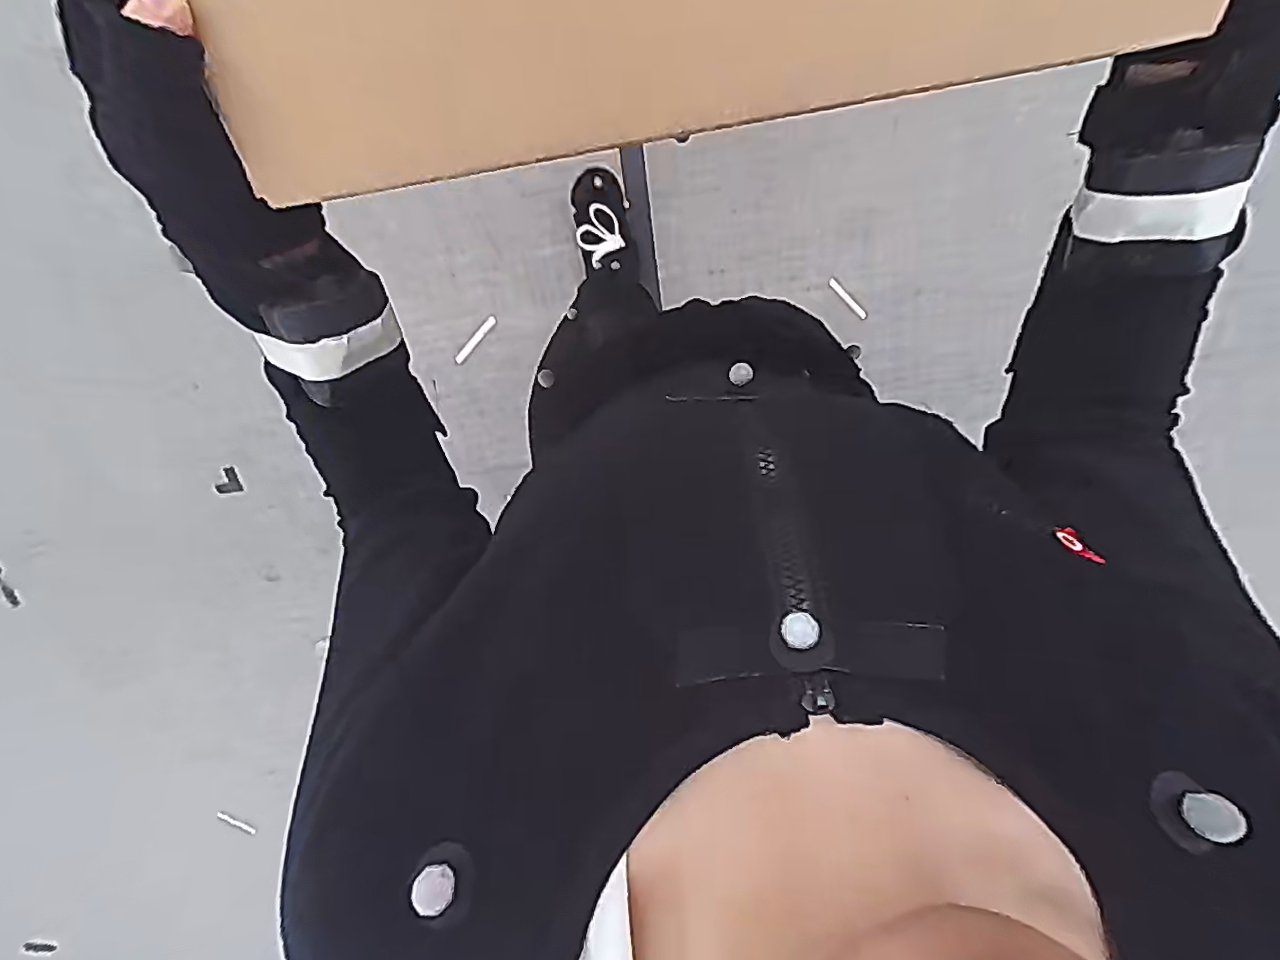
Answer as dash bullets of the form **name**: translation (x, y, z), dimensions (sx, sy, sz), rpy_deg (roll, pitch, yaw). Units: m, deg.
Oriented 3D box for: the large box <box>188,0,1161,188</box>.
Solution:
- **large box**: translation (-0.003, -0.375, 0.269), dimensions (0.408, 0.320, 0.320), rpy_deg (-8, 127, 4)
